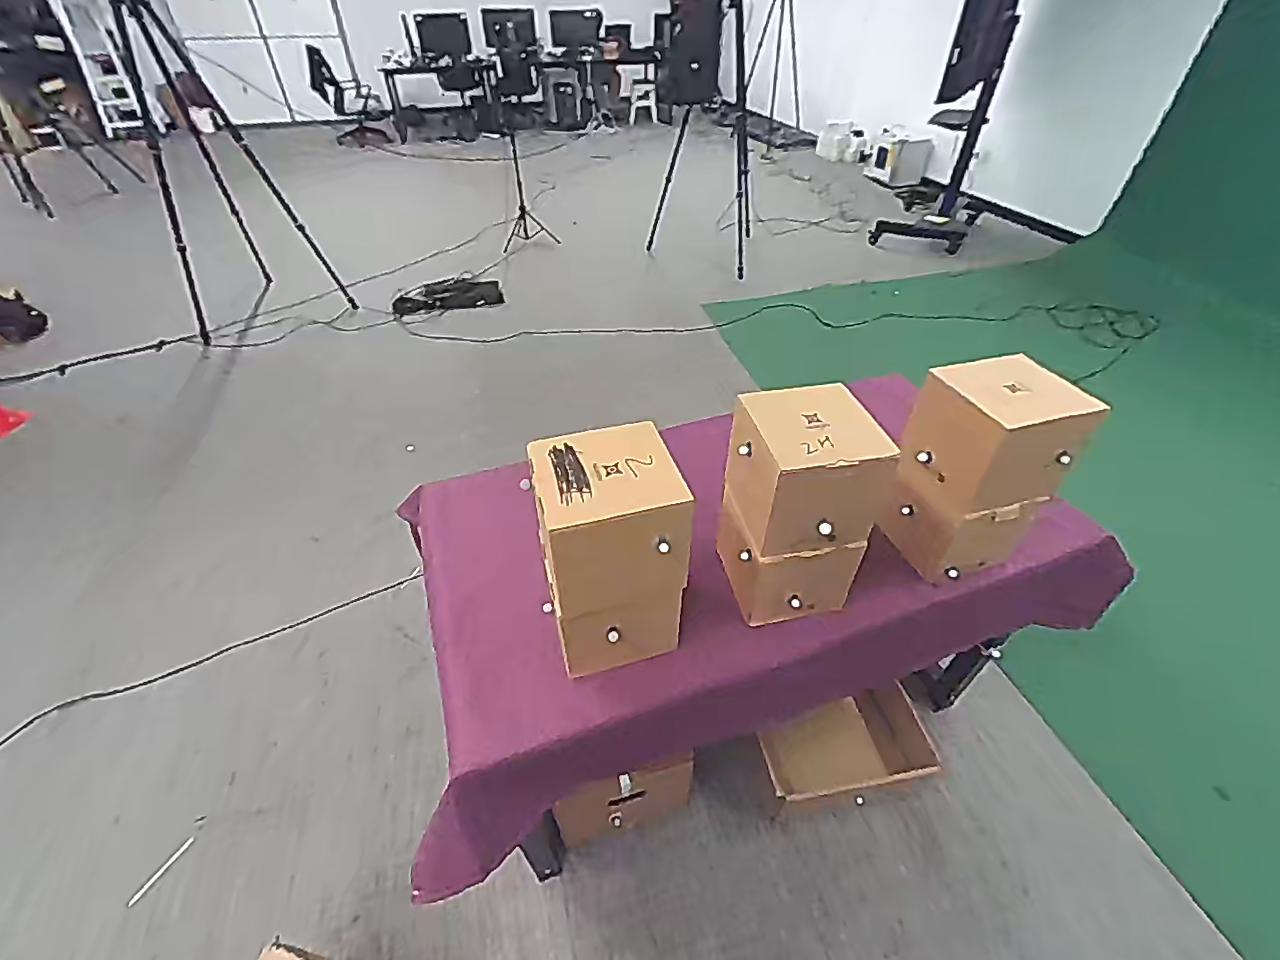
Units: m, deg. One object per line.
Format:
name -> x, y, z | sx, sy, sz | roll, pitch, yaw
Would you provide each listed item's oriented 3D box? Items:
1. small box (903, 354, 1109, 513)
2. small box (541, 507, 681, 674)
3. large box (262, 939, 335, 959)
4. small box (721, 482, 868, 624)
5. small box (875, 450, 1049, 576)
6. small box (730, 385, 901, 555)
small box -> 0.552, -0.072, 0.845 | 0.179, 0.176, 0.168 | -11, 43, -10
small box -> -0.044, 0.172, 0.832 | 0.179, 0.176, 0.168 | -12, 45, -11
large box -> -0.542, 1.059, 0.856 | 0.320, 0.320, 0.408 | 13, 44, 13
small box -> 0.240, 0.110, 0.897 | 0.168, 0.176, 0.179 | -9, 44, -8
small box -> 0.550, 0.049, 0.953 | 0.168, 0.176, 0.179 | -12, 43, -11
small box -> 0.238, -0.016, 0.790 | 0.168, 0.176, 0.179 | -8, 44, -7
